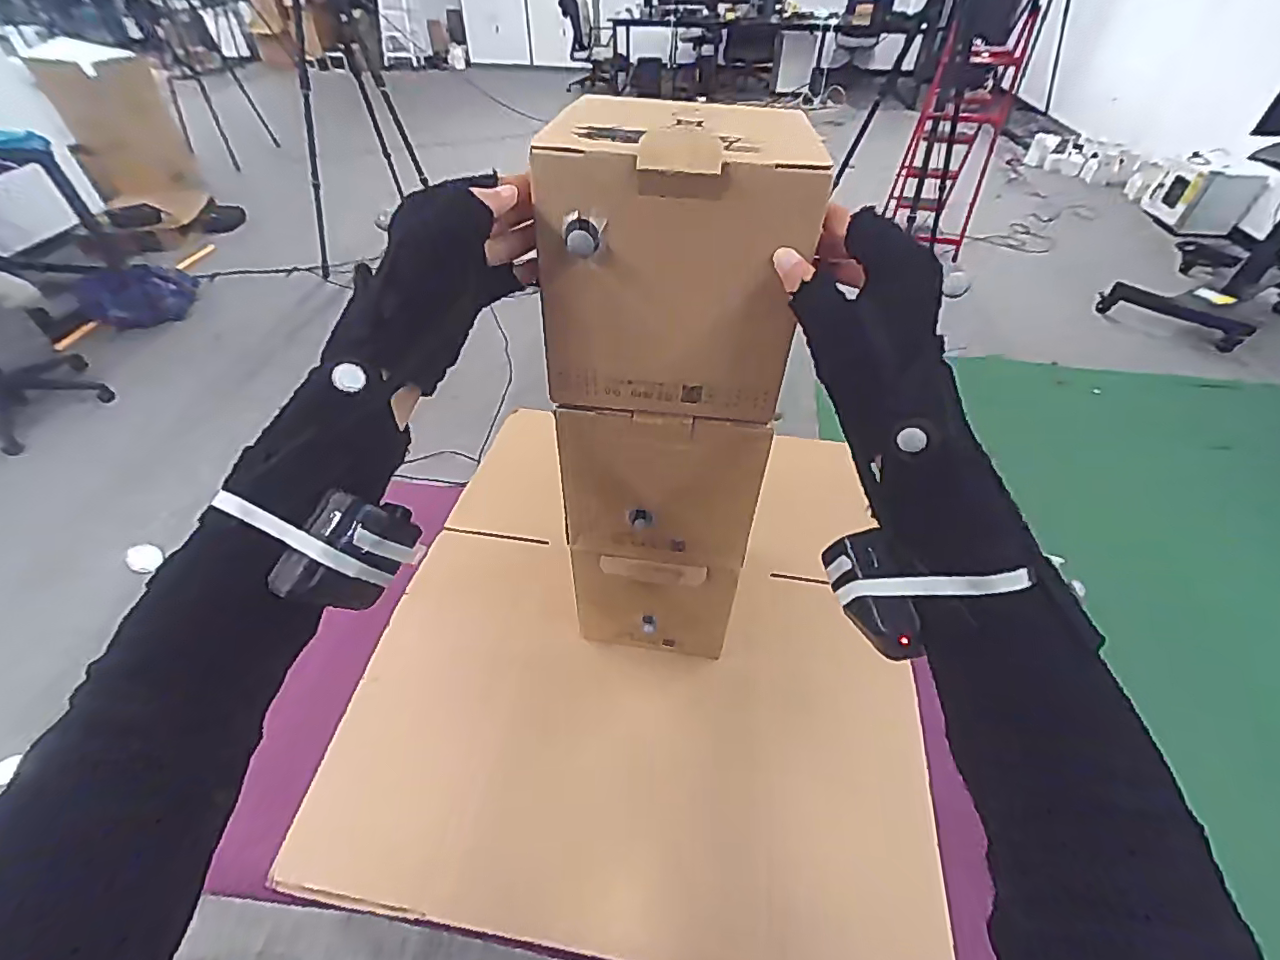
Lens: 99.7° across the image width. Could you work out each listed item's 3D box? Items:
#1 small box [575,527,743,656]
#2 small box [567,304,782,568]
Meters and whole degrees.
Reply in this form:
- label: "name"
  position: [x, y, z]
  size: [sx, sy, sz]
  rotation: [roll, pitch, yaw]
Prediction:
- label: "small box"
  position: [0.028, 0.074, 0.628]
  size: [0.168, 0.176, 0.179]
  rotation: [8, 44, 6]
- label: "small box"
  position: [0.033, -0.044, 0.515]
  size: [0.168, 0.176, 0.179]
  rotation: [7, 44, 5]
